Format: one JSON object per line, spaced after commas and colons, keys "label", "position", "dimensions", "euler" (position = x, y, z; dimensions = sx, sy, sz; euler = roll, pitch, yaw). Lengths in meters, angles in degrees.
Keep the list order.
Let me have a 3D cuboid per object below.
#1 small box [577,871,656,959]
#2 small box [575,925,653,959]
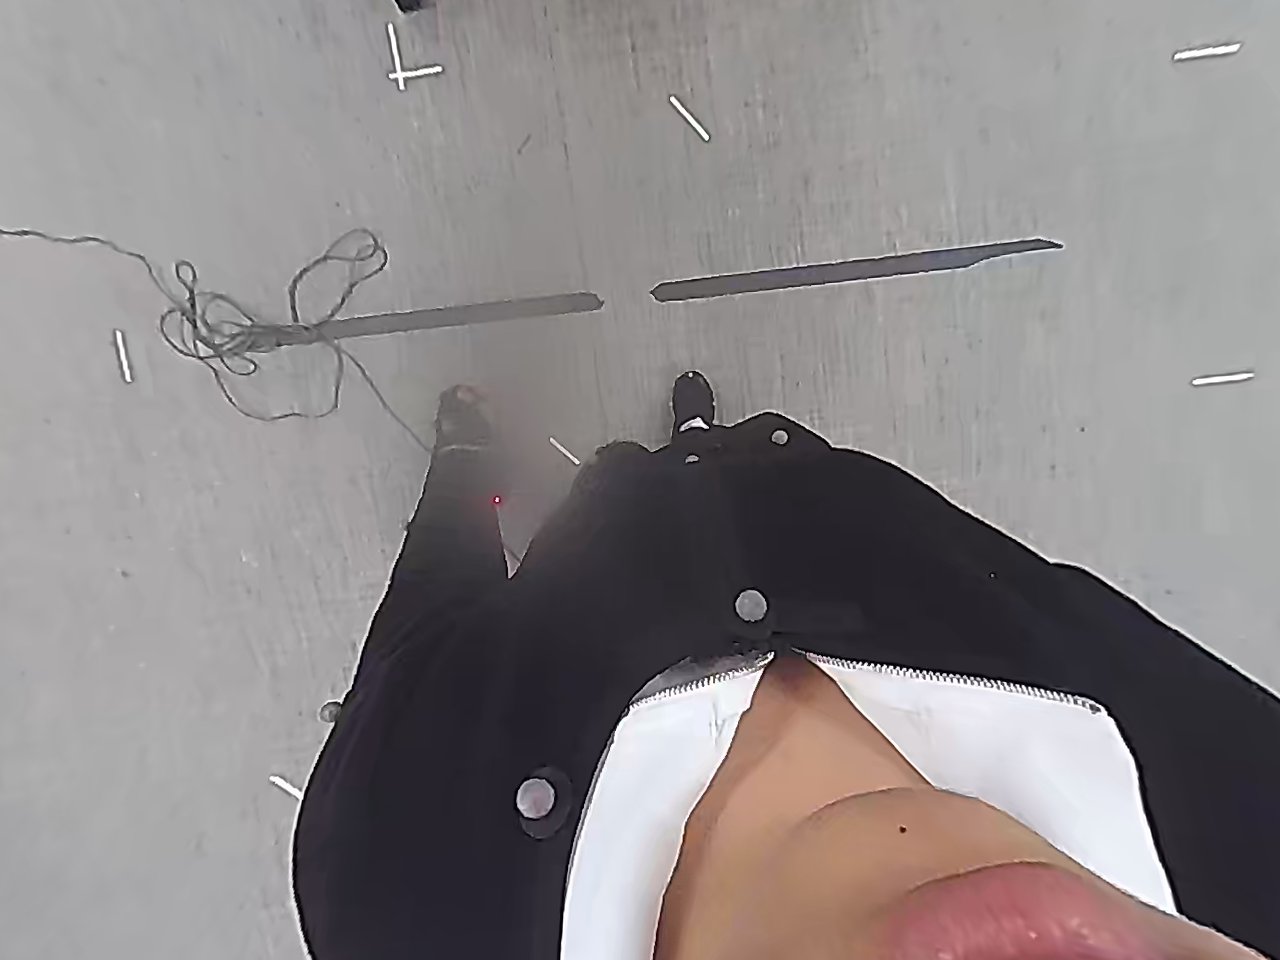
{"label": "small box", "position": [-0.052, 1.096, 1.355], "dimensions": [0.179, 0.176, 0.168], "euler": [-6, 98, 1]}
{"label": "small box", "position": [-0.054, 1.134, 1.196], "dimensions": [0.179, 0.176, 0.168], "euler": [-5, 98, 0]}
